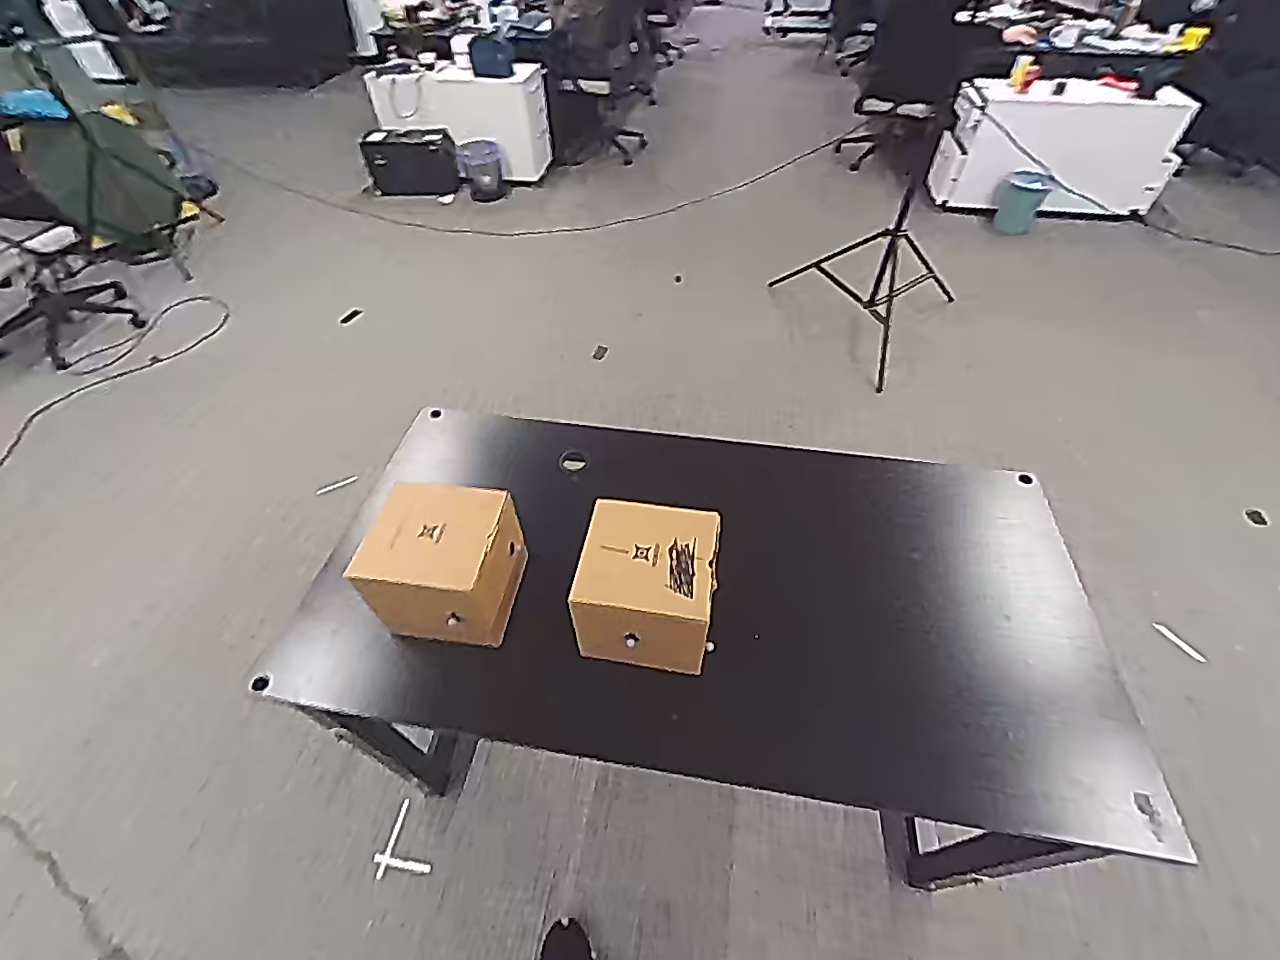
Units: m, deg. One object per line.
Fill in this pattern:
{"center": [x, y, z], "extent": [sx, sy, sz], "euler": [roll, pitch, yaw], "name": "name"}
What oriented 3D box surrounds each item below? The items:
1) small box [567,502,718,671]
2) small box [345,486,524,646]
{"center": [0.010, 0.154, 0.768], "extent": [0.179, 0.176, 0.168], "euler": [6, 49, 8], "name": "small box"}
{"center": [-0.283, 0.130, 0.797], "extent": [0.179, 0.176, 0.168], "euler": [4, 48, 5], "name": "small box"}
